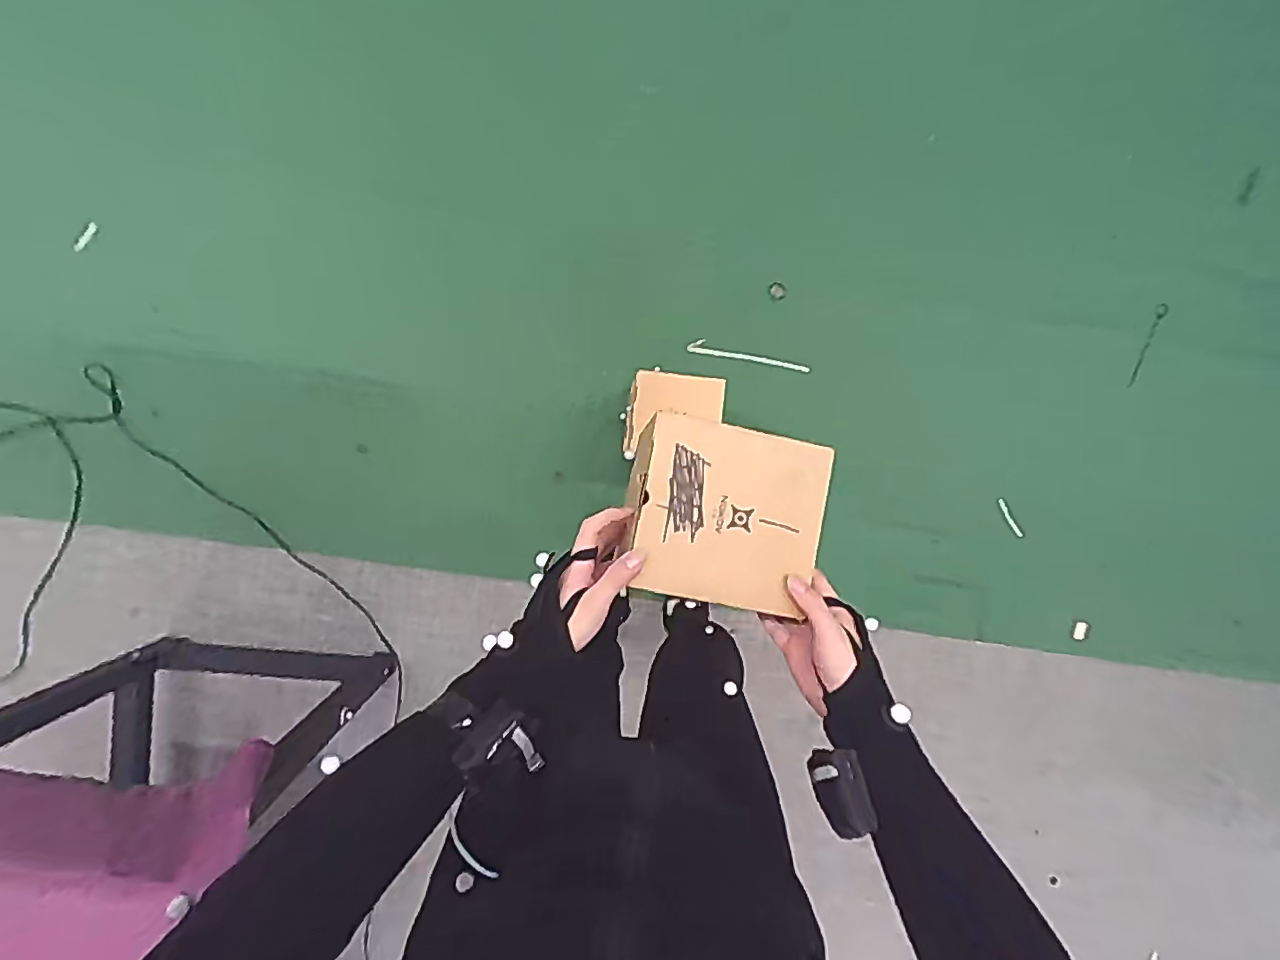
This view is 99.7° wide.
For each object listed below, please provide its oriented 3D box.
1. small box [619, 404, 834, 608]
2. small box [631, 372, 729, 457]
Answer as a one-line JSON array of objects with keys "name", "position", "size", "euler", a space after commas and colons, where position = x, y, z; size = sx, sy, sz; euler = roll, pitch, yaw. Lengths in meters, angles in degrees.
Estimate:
[{"name": "small box", "position": [0.079, 0.029, 0.584], "size": [0.179, 0.176, 0.168], "euler": [12, 86, -6]}, {"name": "small box", "position": [0.076, -0.127, 1.131], "size": [0.179, 0.176, 0.168], "euler": [5, 94, -2]}]
